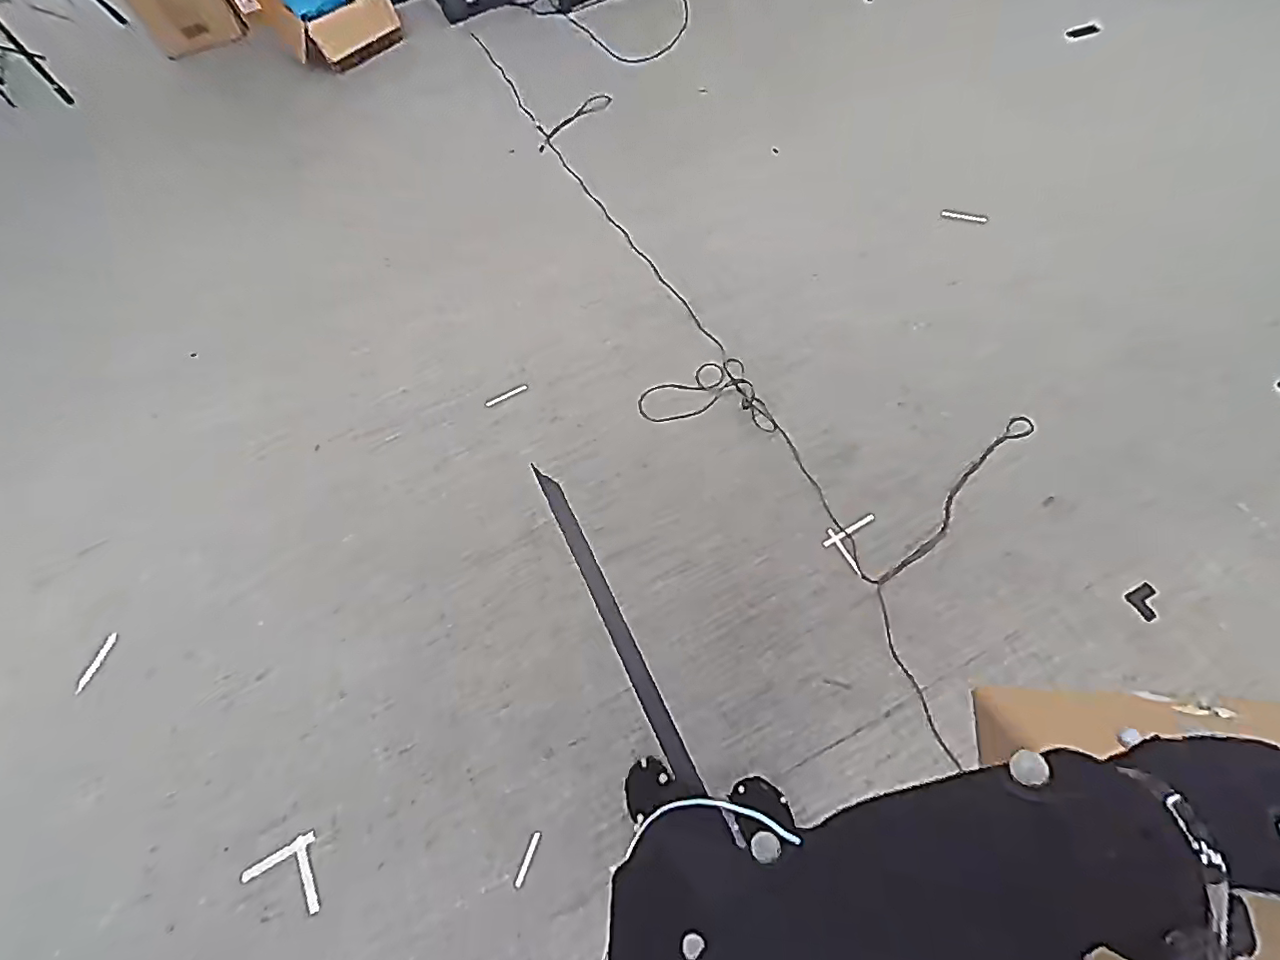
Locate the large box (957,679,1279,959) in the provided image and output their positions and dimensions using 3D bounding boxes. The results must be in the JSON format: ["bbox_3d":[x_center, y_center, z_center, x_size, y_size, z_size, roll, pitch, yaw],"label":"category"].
[{"bbox_3d":[0.485,0.400,0.440,0.320,0.320,0.408,-6,81,21],"label":"large box"}]
